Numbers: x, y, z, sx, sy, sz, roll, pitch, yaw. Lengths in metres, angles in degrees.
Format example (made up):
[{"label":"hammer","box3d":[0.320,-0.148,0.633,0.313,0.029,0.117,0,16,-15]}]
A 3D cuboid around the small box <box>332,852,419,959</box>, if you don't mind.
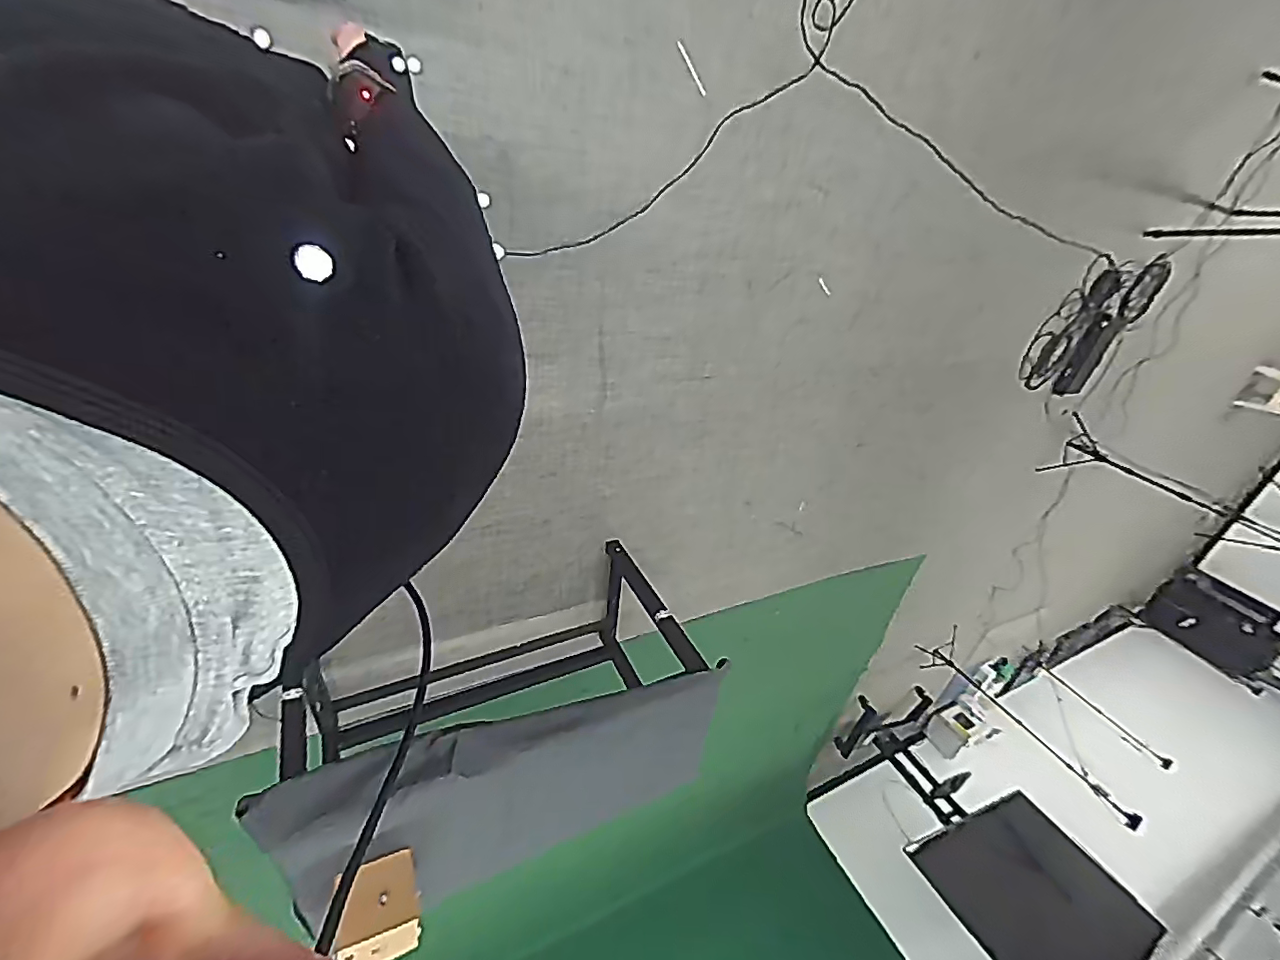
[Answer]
[{"label":"small box","box3d":[-0.661,1.078,1.349,0.179,0.176,0.168,-5,123,-31]}]
